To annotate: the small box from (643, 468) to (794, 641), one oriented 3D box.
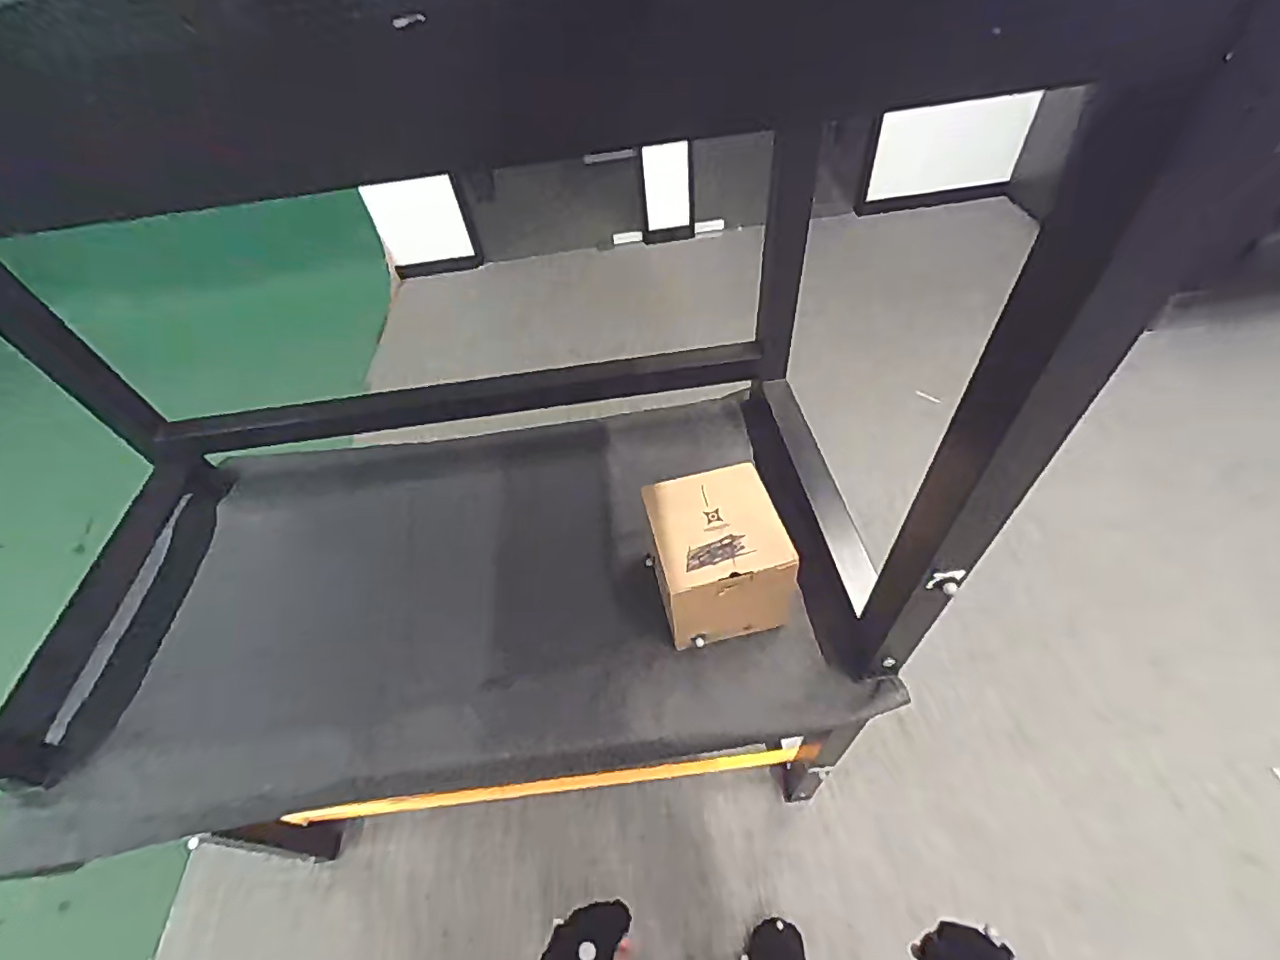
[{"bbox_3d":[0.108,0.113,0.778,0.168,0.176,0.179,-12,47,-3],"label":"small box"}]
